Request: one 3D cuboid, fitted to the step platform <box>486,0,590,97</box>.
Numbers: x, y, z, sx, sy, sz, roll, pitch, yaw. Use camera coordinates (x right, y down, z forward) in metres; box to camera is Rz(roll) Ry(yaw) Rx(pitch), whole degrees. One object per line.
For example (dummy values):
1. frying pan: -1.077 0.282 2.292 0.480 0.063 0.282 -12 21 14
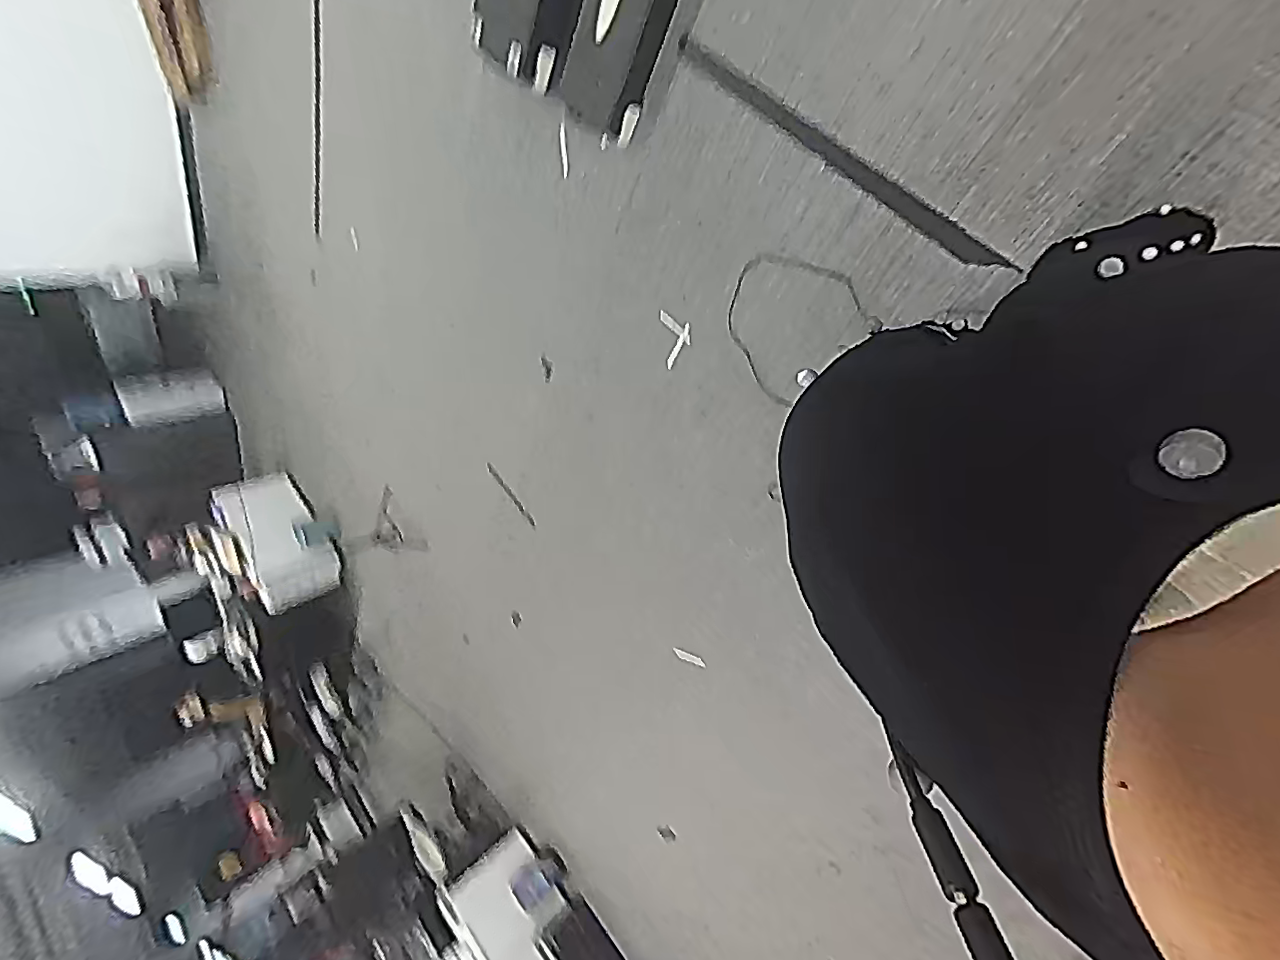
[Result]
1. step platform: -0.188 -1.463 1.457 0.286 0.204 0.684 52 133 15
